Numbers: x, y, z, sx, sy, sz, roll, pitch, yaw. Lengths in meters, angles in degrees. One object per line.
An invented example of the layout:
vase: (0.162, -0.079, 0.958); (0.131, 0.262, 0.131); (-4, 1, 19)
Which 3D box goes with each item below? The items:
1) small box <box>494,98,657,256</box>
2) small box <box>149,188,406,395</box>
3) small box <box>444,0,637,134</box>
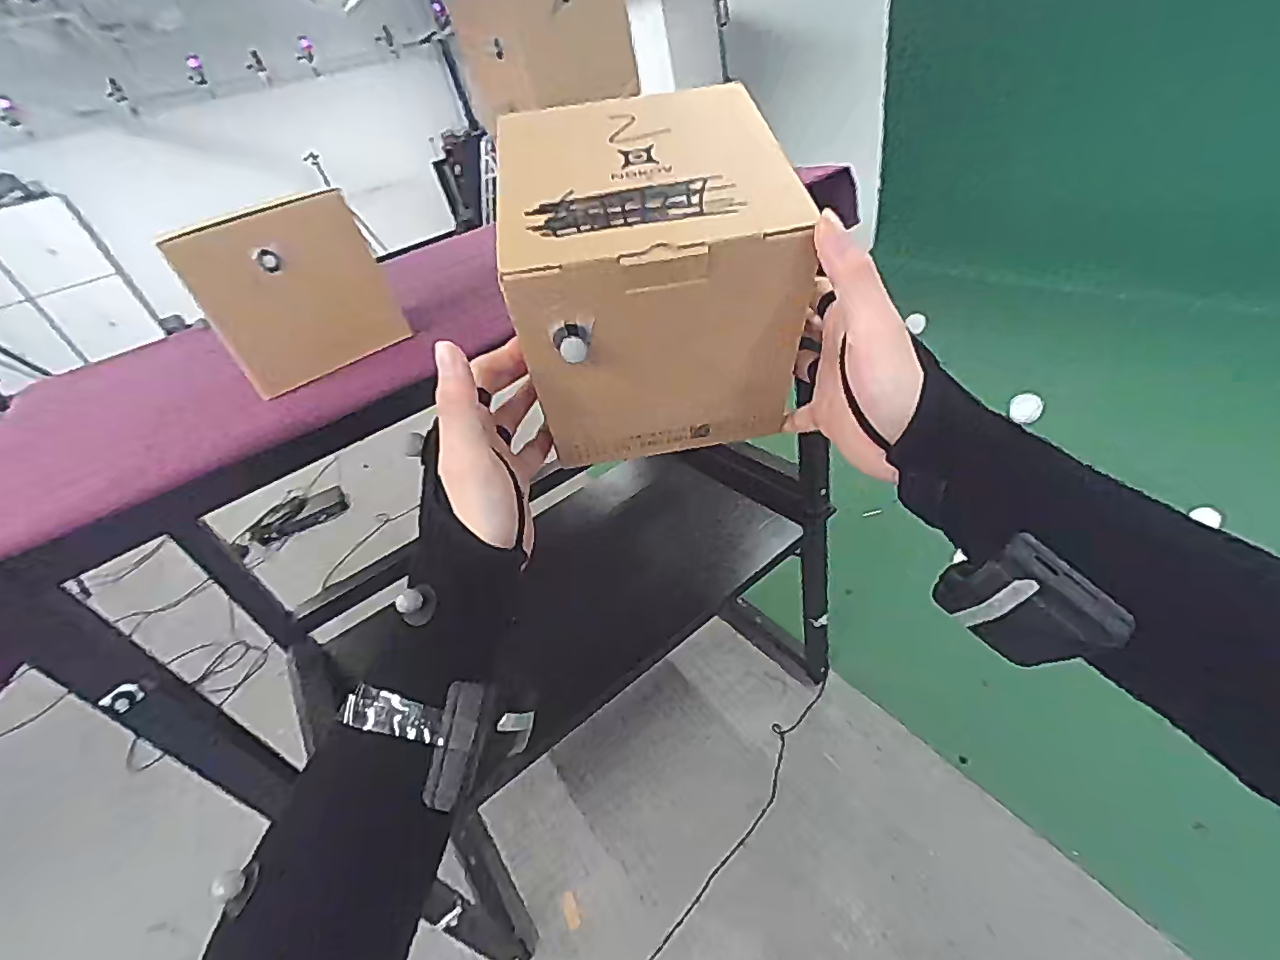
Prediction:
small box: (-0.094, -0.460, 0.834); (0.168, 0.176, 0.179); (-30, 38, -19)
small box: (-0.408, -0.218, 0.623); (0.179, 0.176, 0.168); (-35, 41, -25)
small box: (-0.128, -0.583, 0.732); (0.179, 0.176, 0.168); (-32, 39, -22)
